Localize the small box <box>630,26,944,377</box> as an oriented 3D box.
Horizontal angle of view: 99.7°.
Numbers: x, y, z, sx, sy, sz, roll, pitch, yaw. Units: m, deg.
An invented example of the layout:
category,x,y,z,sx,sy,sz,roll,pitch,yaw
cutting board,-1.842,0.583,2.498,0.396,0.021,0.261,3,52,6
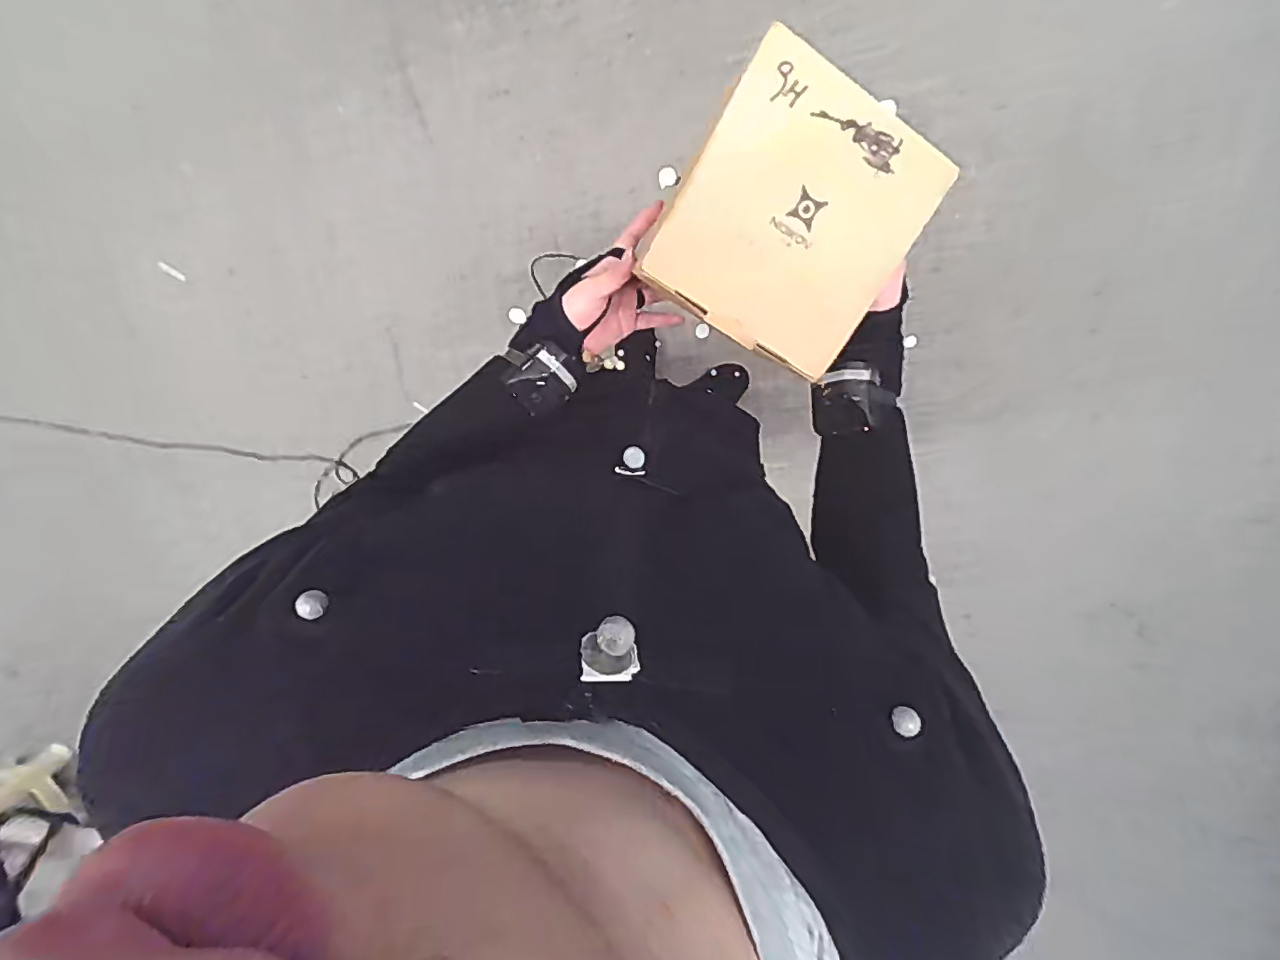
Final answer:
category,x,y,z,sx,sy,sz,roll,pitch,yaw
small box,0.102,-0.216,0.465,0.168,0.176,0.179,27,107,-13
